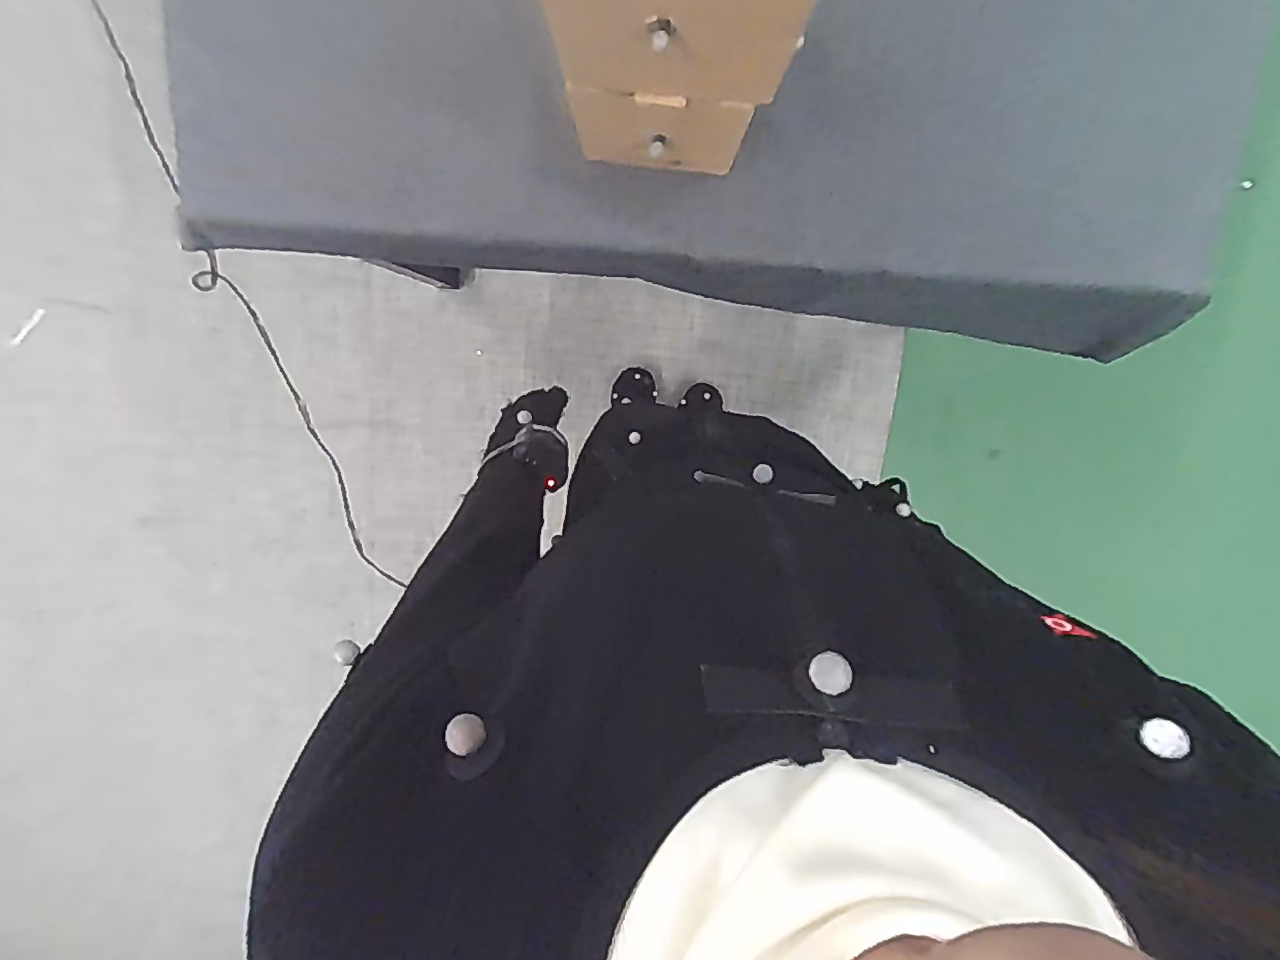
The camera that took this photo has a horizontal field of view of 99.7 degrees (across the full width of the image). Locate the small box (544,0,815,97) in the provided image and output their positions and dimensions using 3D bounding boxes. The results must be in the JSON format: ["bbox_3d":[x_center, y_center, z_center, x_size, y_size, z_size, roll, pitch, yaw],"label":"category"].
[{"bbox_3d":[0.031,-0.389,0.362,0.179,0.176,0.168,5,102,2],"label":"small box"}]

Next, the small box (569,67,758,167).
[{"bbox_3d":[0.032,-0.426,0.523,0.168,0.176,0.179,6,102,1],"label":"small box"}]
